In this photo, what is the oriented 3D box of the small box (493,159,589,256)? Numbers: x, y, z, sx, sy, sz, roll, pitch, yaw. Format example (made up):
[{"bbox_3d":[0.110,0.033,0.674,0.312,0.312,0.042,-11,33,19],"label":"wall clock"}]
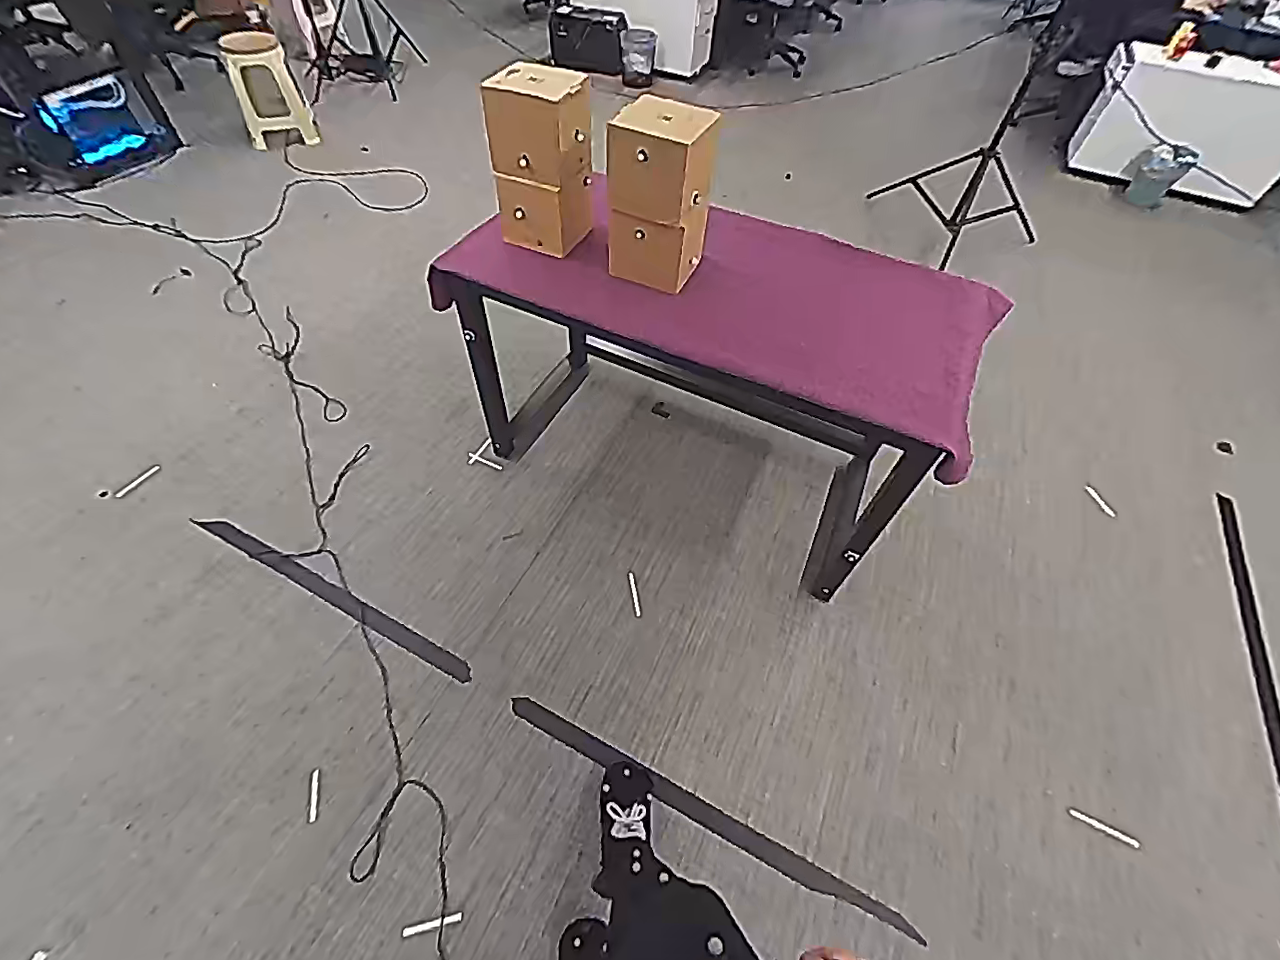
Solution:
[{"bbox_3d":[-0.227,-0.672,1.310,0.168,0.176,0.179,20,54,11],"label":"small box"}]

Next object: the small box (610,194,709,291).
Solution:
[{"bbox_3d":[0.040,-0.564,1.247,0.179,0.176,0.168,22,55,11],"label":"small box"}]

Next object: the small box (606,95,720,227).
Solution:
[{"bbox_3d":[0.042,-0.651,1.110,0.179,0.176,0.168,24,57,12],"label":"small box"}]

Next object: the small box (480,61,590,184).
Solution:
[{"bbox_3d":[-0.220,-0.776,1.183,0.179,0.176,0.168,19,54,9],"label":"small box"}]
